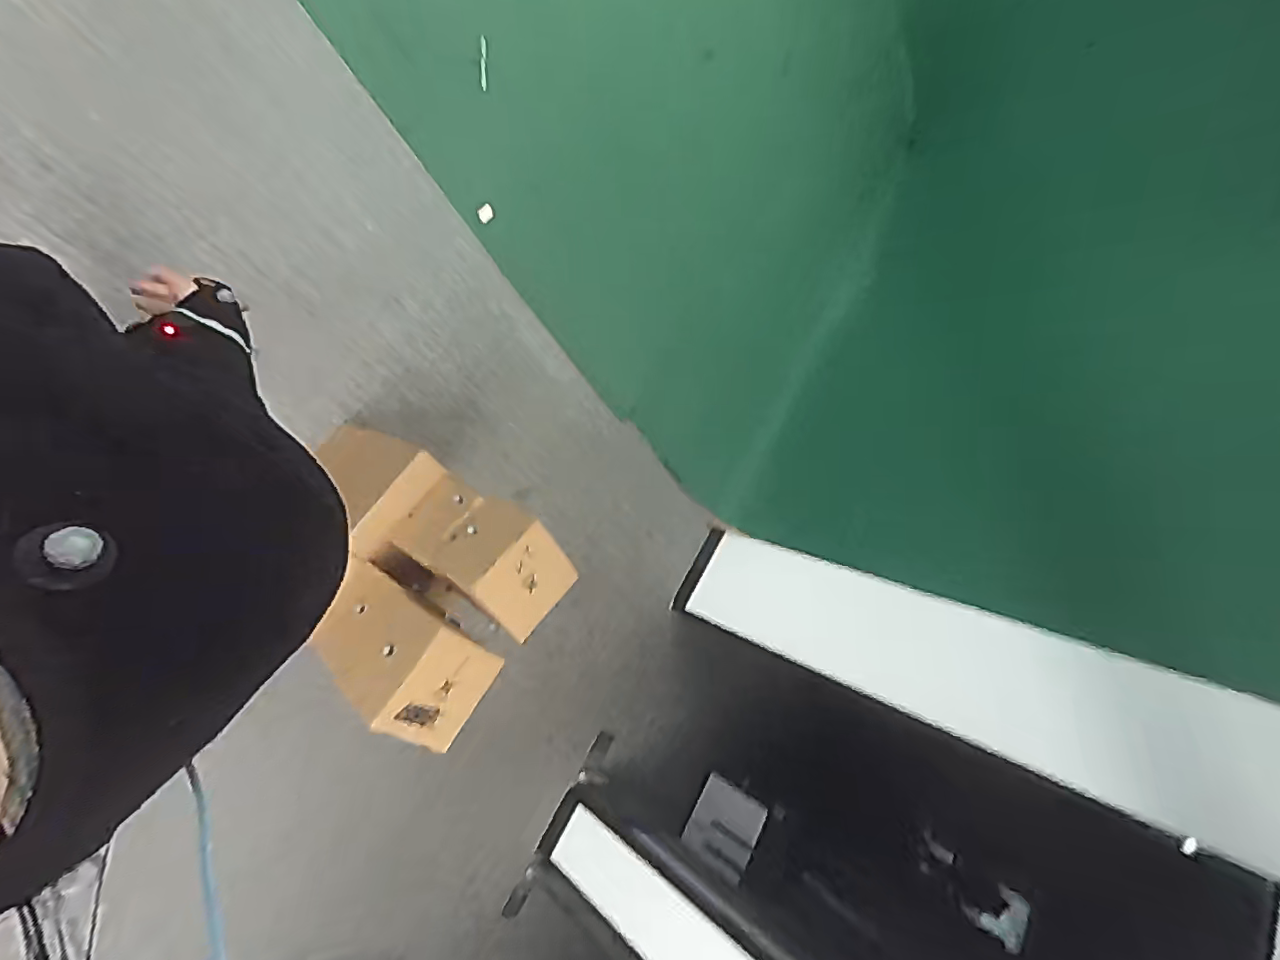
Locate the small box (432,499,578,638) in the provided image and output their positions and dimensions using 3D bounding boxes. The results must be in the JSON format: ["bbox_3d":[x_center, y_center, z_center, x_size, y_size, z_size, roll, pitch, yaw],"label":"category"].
[{"bbox_3d":[-0.257,0.161,1.035,0.168,0.176,0.179,-48,133,-25],"label":"small box"}]
